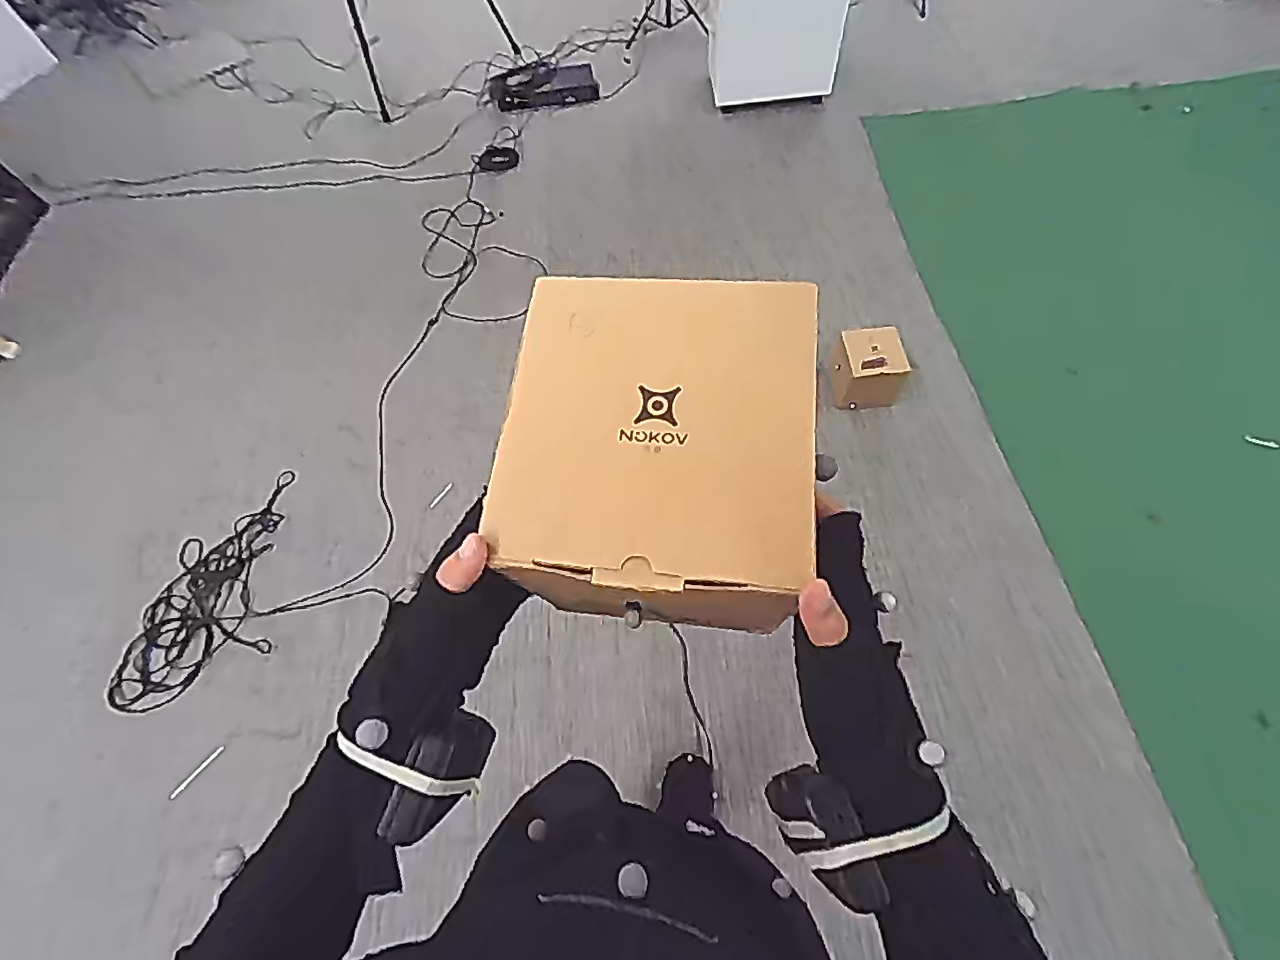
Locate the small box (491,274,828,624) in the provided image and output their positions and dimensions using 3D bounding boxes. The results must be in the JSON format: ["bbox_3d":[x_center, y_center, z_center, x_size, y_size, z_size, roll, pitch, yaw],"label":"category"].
[{"bbox_3d":[0.023,-0.009,0.362,0.168,0.176,0.179,4,70,8],"label":"small box"}]

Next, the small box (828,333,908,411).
[{"bbox_3d":[0.687,-0.322,1.648,0.168,0.176,0.179,-4,61,2],"label":"small box"}]
